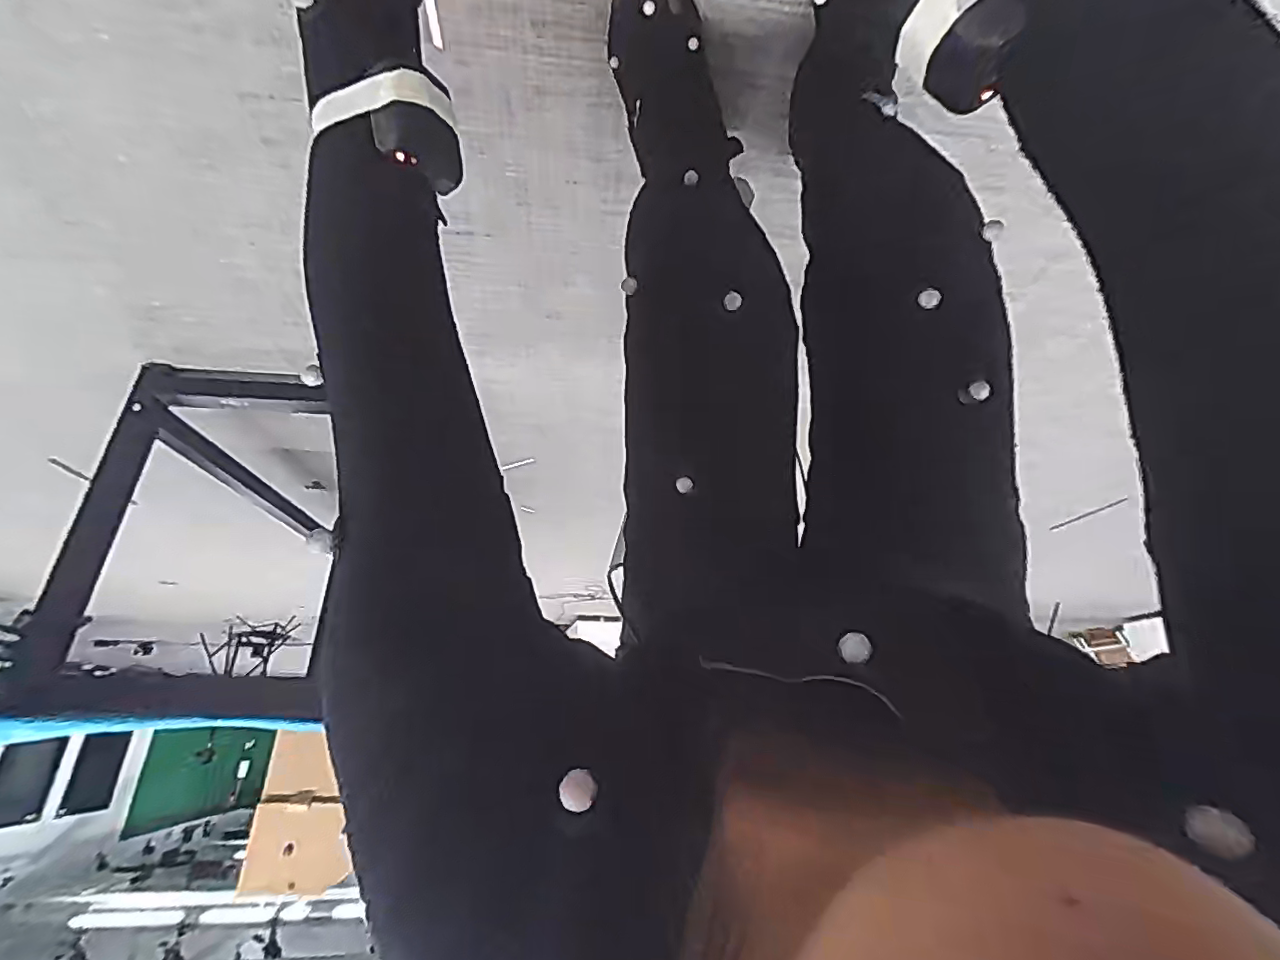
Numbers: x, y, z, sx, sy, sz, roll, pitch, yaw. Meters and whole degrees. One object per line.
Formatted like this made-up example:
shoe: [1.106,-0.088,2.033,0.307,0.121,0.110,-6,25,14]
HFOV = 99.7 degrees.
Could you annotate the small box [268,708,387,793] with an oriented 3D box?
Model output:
small box: [-0.725,0.630,1.268,0.179,0.176,0.168,3,157,-5]

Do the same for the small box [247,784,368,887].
small box: [-0.731,0.778,1.198,0.168,0.176,0.179,4,159,-6]
